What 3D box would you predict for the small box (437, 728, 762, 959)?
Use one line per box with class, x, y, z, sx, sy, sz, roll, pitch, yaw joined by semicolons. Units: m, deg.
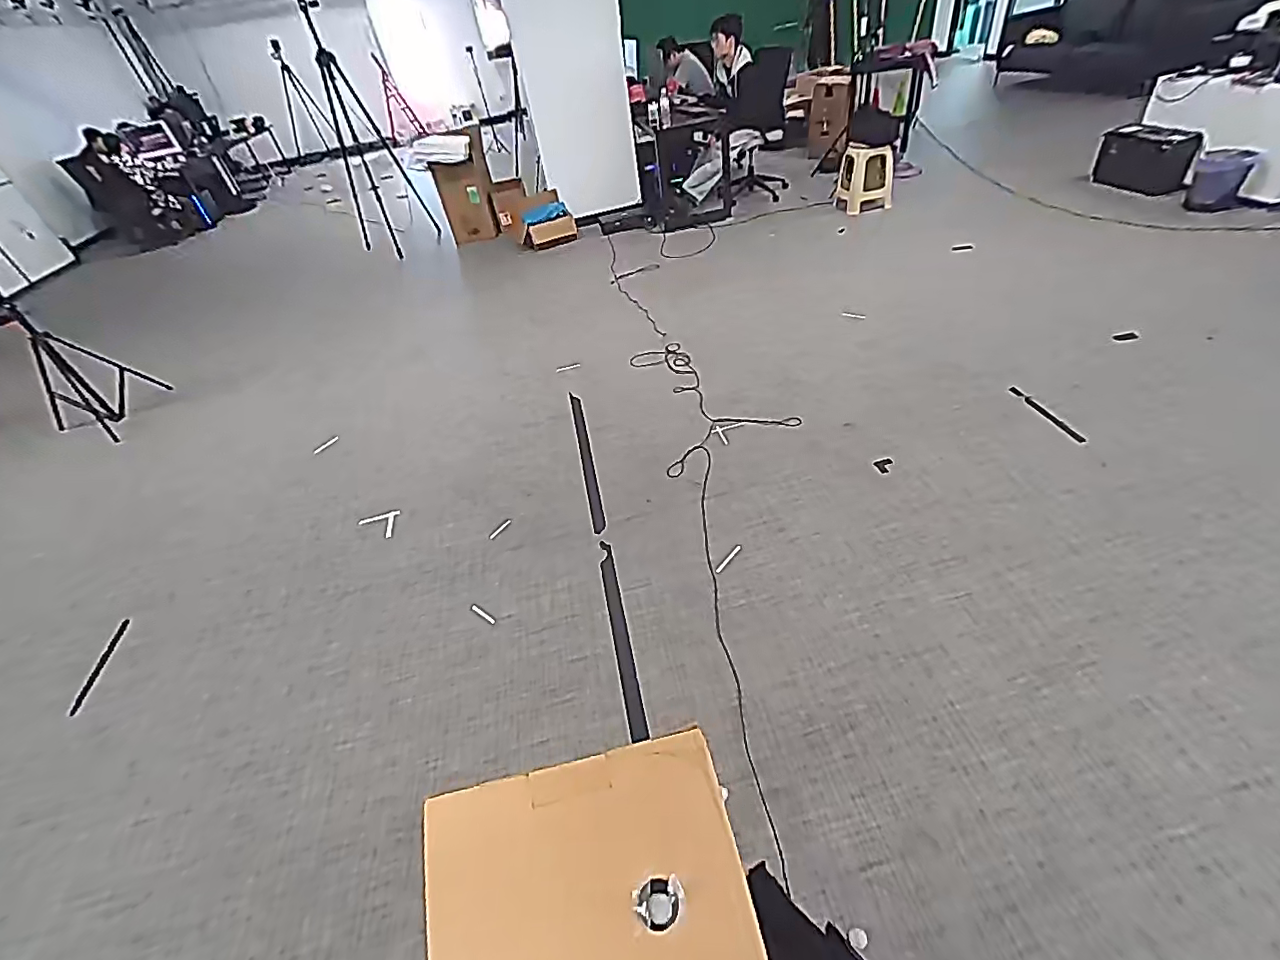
small box;-0.020;0.282;0.359;0.168;0.179;0.176;-12;61;-6
